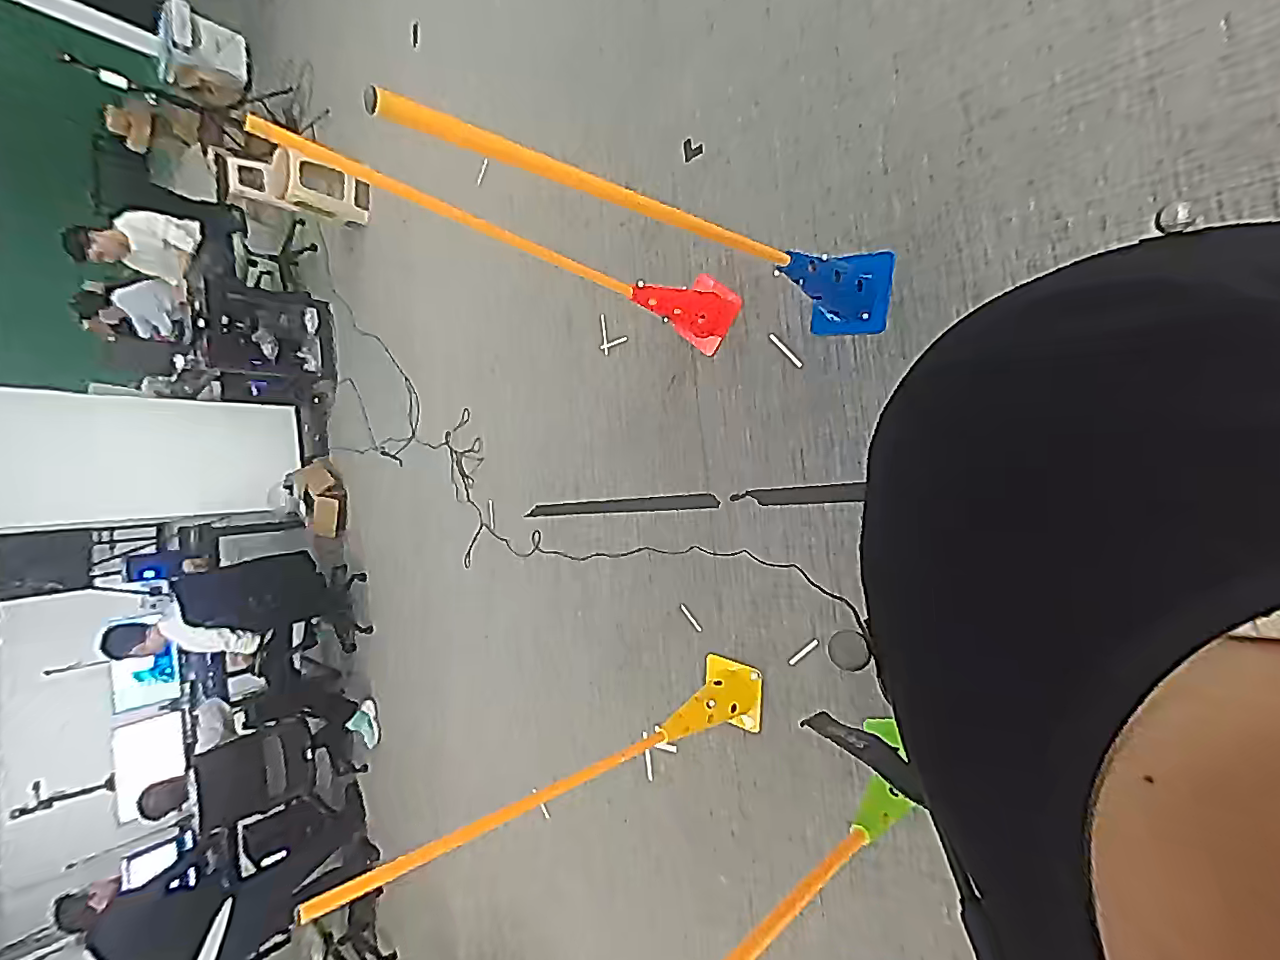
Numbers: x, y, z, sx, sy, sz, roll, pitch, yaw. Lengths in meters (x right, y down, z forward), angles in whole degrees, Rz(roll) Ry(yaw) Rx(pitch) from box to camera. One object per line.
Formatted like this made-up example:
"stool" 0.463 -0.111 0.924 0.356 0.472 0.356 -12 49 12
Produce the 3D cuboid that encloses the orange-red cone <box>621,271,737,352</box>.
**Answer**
"orange-red cone" 0.082 -0.514 1.559 0.199 0.360 0.198 48 123 29

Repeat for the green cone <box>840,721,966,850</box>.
"green cone" 0.544 0.700 1.197 0.202 0.368 0.200 -25 75 42

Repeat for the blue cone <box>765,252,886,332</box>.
"blue cone" 0.416 -0.472 1.270 0.192 0.380 0.193 14 102 42
